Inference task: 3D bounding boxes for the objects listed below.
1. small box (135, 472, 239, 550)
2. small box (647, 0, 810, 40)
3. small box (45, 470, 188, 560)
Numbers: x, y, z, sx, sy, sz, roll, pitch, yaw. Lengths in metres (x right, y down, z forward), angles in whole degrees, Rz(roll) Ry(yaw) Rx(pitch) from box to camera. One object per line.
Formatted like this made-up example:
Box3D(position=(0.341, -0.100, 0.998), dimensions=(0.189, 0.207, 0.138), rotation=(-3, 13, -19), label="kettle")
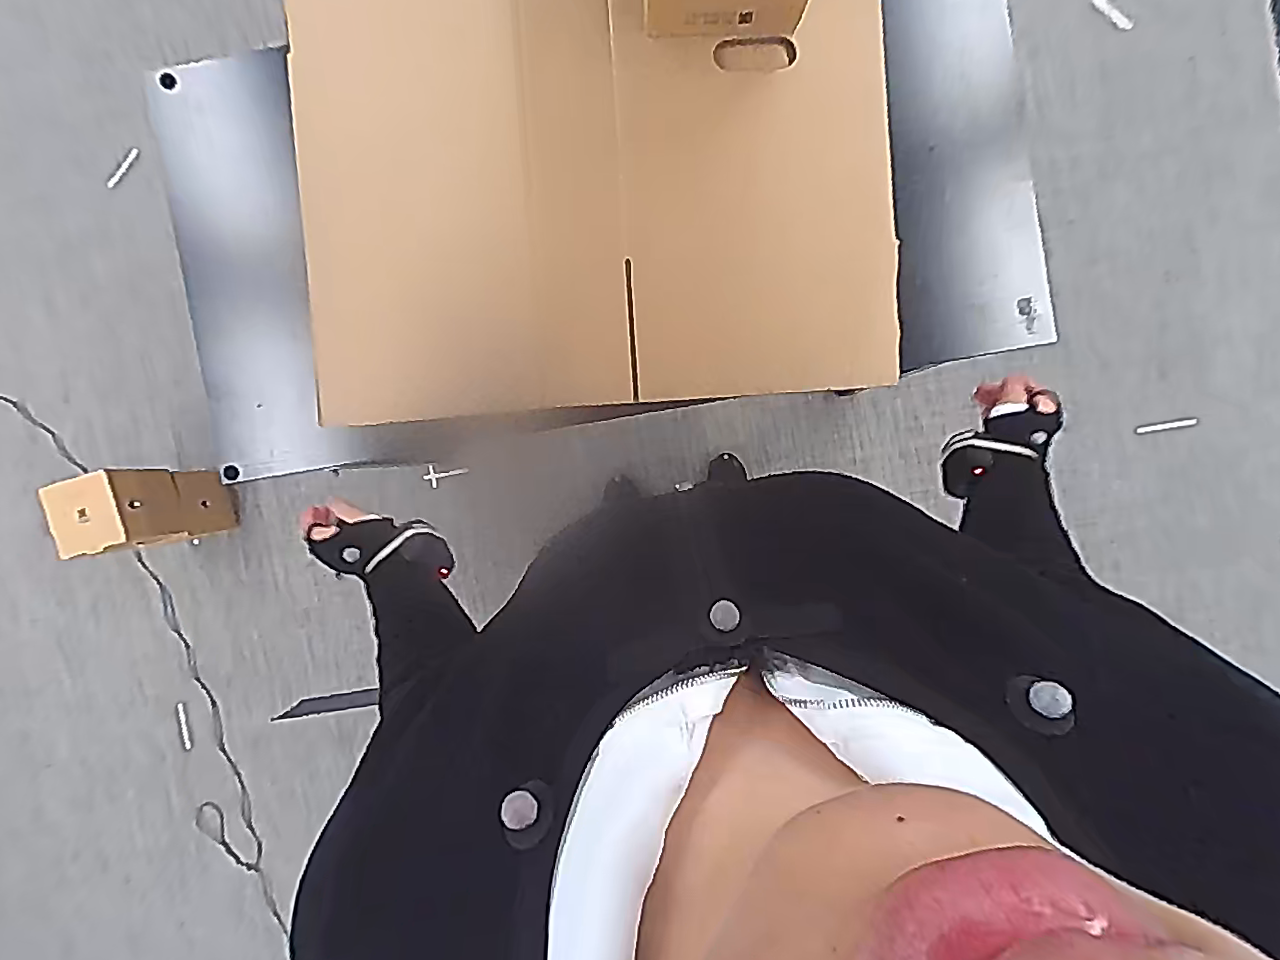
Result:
Box3D(position=(-1.250, 0.079, 1.477), dimensions=(0.168, 0.176, 0.179), rotation=(-13, 92, 3), label="small box")
Box3D(position=(0.088, -0.562, 0.501), dimensions=(0.168, 0.176, 0.179), rotation=(-2, 90, -1), label="small box")
Box3D(position=(-1.259, 0.079, 1.315), dimensions=(0.168, 0.176, 0.179), rotation=(-17, 90, 2), label="small box")
